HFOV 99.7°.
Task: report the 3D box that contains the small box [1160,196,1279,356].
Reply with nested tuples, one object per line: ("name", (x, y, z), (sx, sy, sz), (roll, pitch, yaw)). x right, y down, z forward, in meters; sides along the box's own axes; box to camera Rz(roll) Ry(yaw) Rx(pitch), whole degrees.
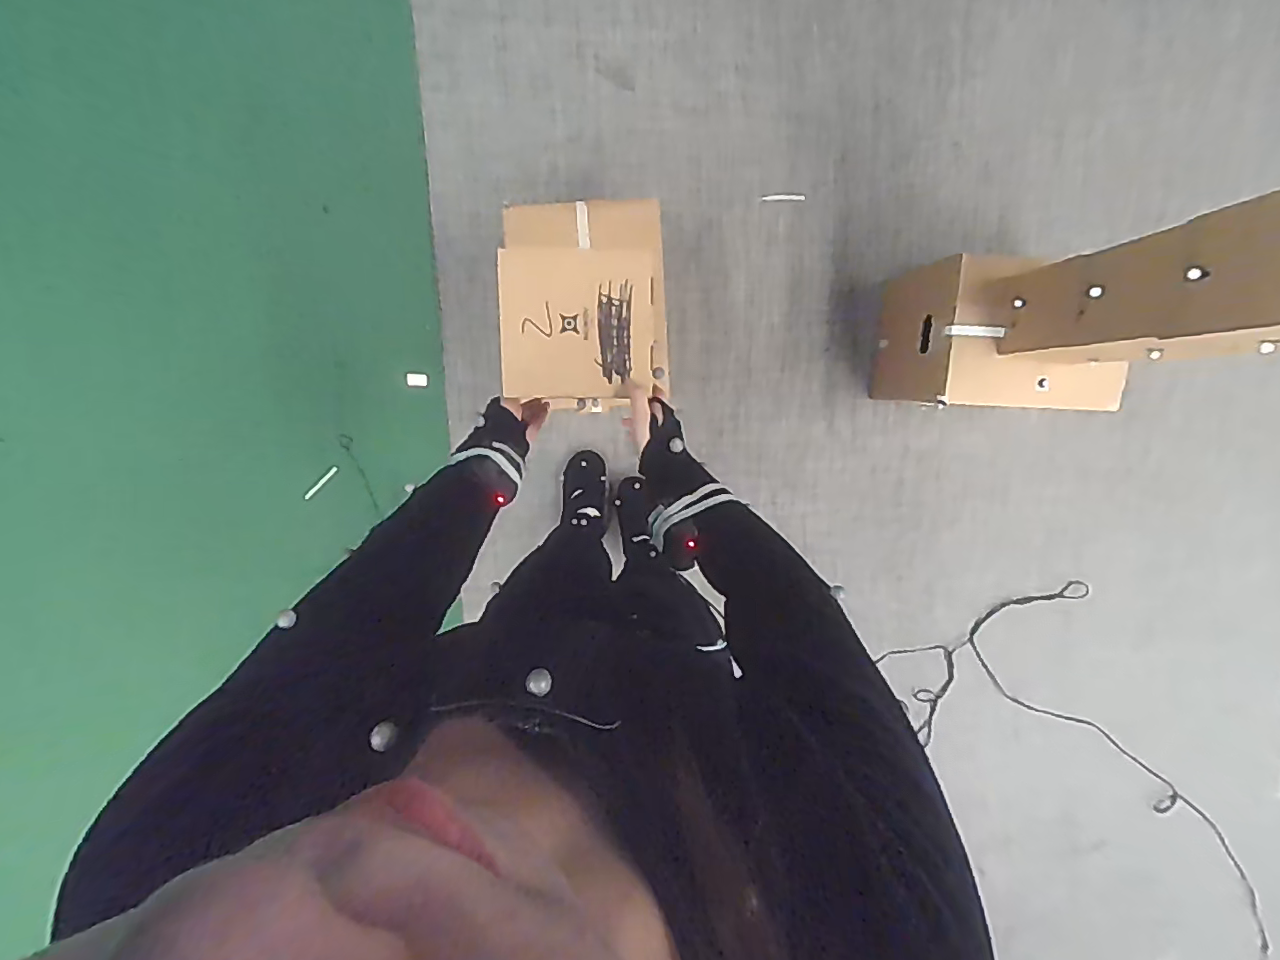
("small box", (0.869, -0.268, 0.729), (0.168, 0.176, 0.179), (7, 98, -4))

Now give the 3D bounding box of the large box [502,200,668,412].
("large box", (-0.112, -0.371, 1.244), (0.320, 0.320, 0.408), (-3, 99, -2))

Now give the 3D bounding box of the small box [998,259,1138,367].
("small box", (0.851, -0.314, 1.054), (0.179, 0.176, 0.168), (6, 97, -4))

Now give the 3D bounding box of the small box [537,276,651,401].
("small box", (-0.068, -0.217, 0.857), (0.168, 0.176, 0.179), (-1, 99, -3))

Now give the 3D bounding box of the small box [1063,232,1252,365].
("small box", (0.862, -0.287, 0.892), (0.179, 0.176, 0.168), (8, 97, -3))
